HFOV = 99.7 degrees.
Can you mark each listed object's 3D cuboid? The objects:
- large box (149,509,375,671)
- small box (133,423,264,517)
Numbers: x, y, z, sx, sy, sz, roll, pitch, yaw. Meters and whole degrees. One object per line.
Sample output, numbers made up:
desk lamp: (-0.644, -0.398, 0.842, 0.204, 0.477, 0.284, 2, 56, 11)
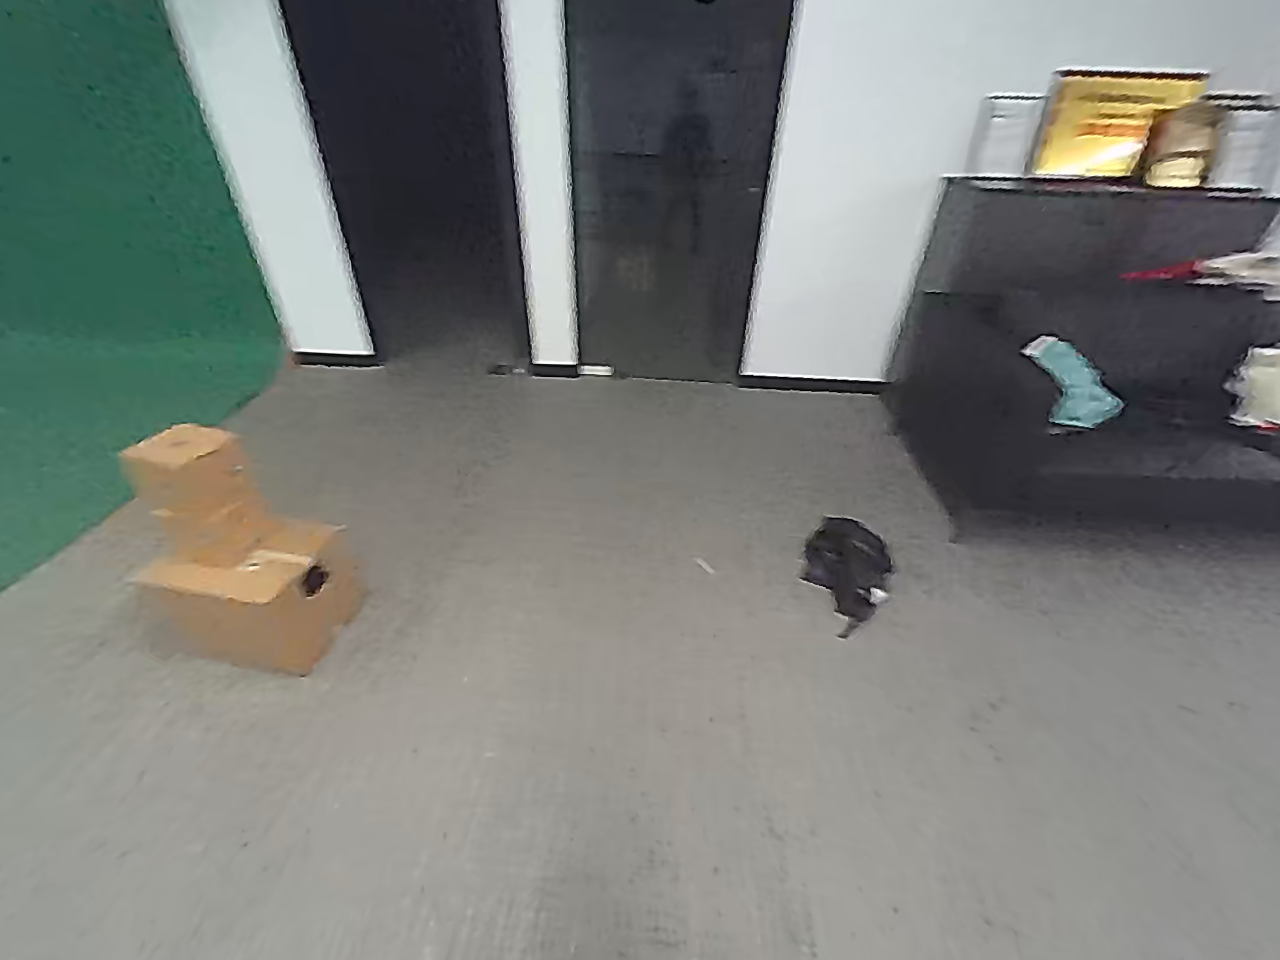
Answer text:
large box: (-1.091, 0.322, 1.615, 0.408, 0.320, 0.320, 9, 37, 7)
small box: (-1.126, -0.025, 1.398, 0.179, 0.176, 0.168, 10, 35, 12)
